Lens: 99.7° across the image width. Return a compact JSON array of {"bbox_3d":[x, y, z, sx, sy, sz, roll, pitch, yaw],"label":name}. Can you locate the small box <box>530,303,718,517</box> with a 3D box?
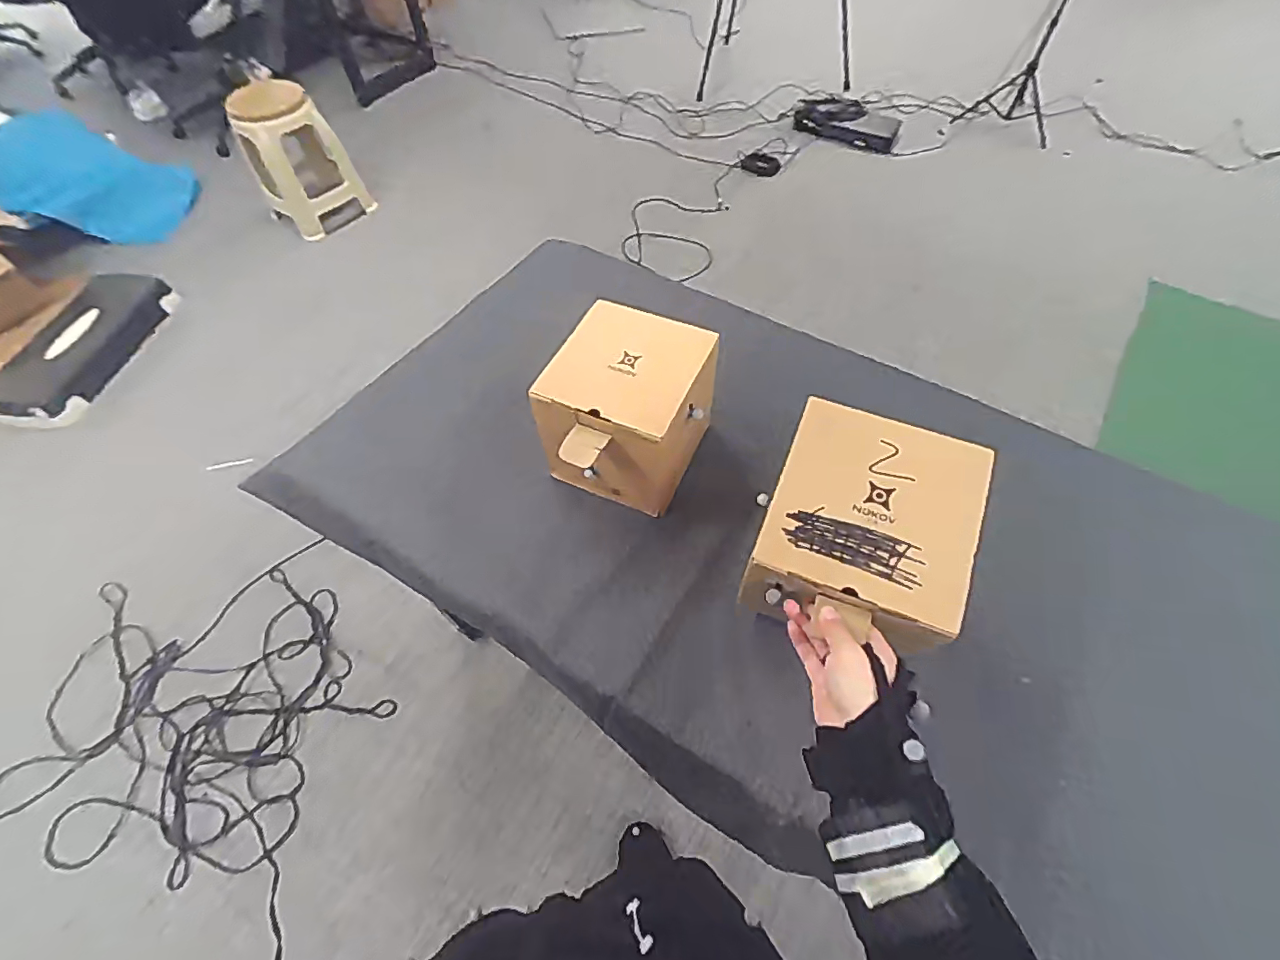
[{"bbox_3d":[-0.016,-0.085,0.684,0.168,0.176,0.179,20,60,14],"label":"small box"}]
